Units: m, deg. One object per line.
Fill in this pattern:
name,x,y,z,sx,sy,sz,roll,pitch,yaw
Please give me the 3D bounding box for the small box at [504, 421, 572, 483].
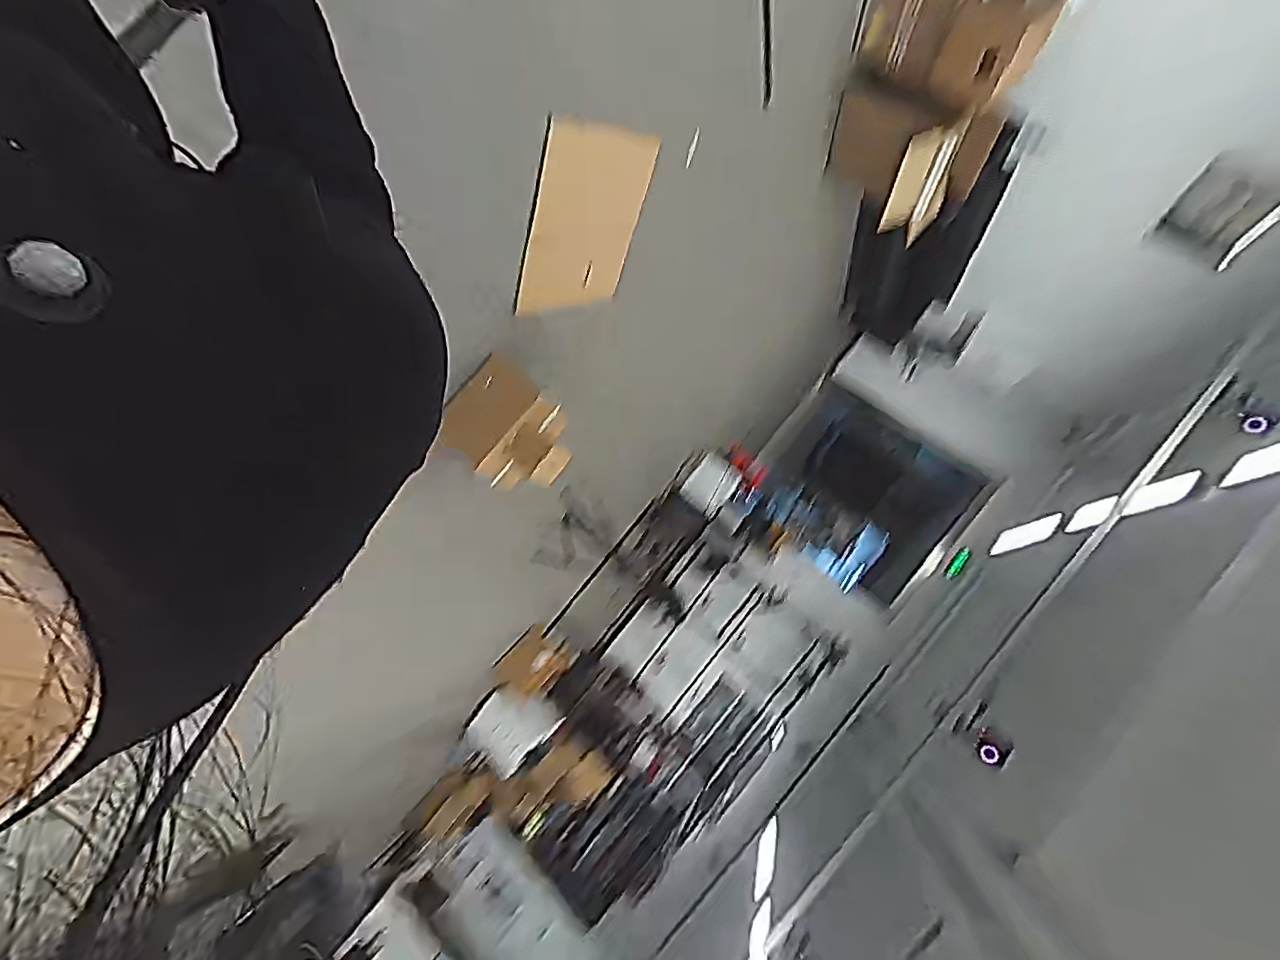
small box,-0.412,-0.116,2.175,0.168,0.176,0.179,-51,161,2
